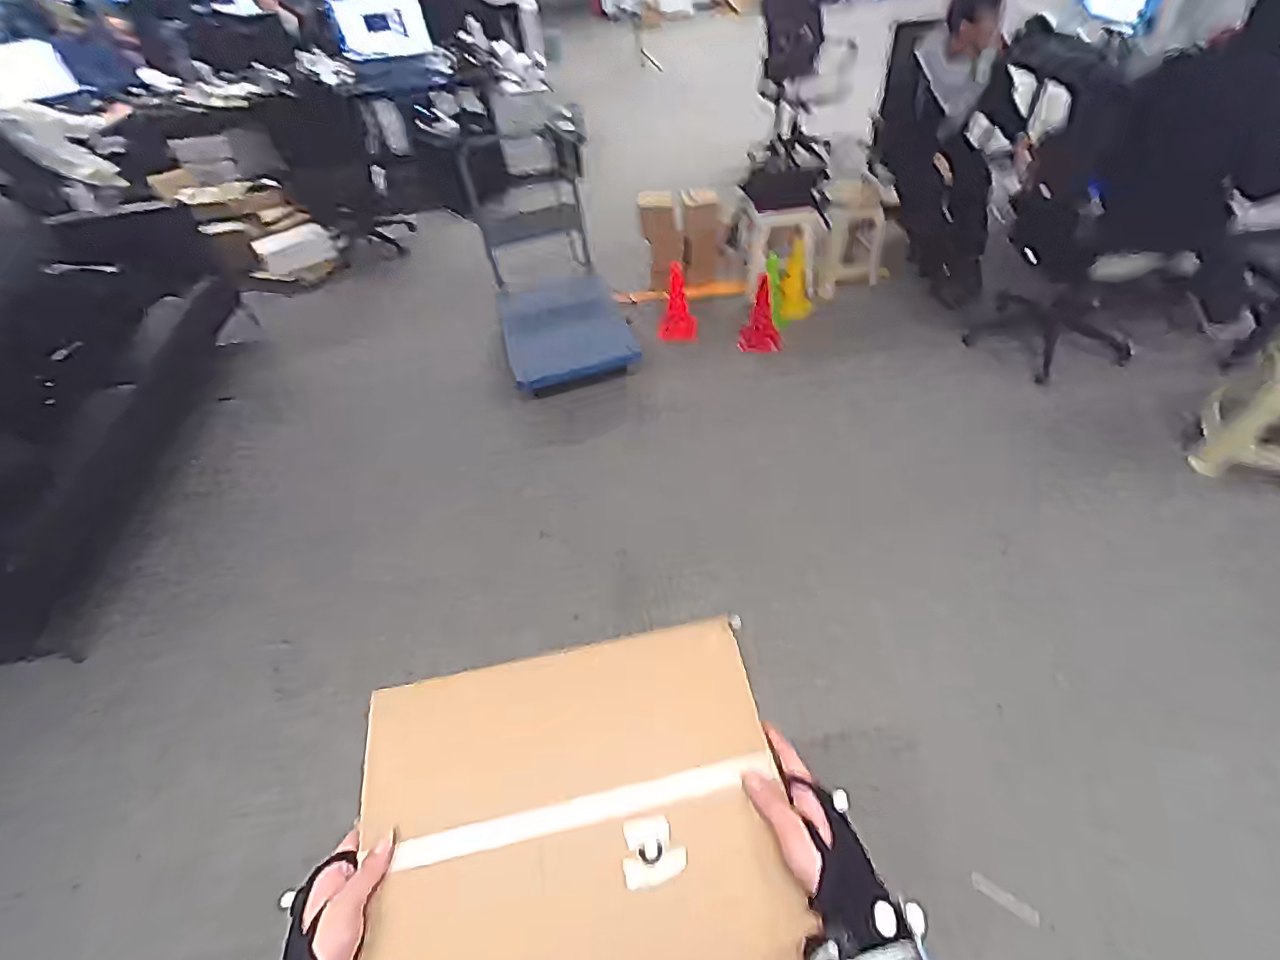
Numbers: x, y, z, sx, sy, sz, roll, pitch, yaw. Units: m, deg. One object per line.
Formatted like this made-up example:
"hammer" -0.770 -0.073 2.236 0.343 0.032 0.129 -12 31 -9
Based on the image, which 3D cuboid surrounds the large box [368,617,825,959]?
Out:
"large box" -0.060 0.407 0.655 0.408 0.320 0.320 -10 56 -7
